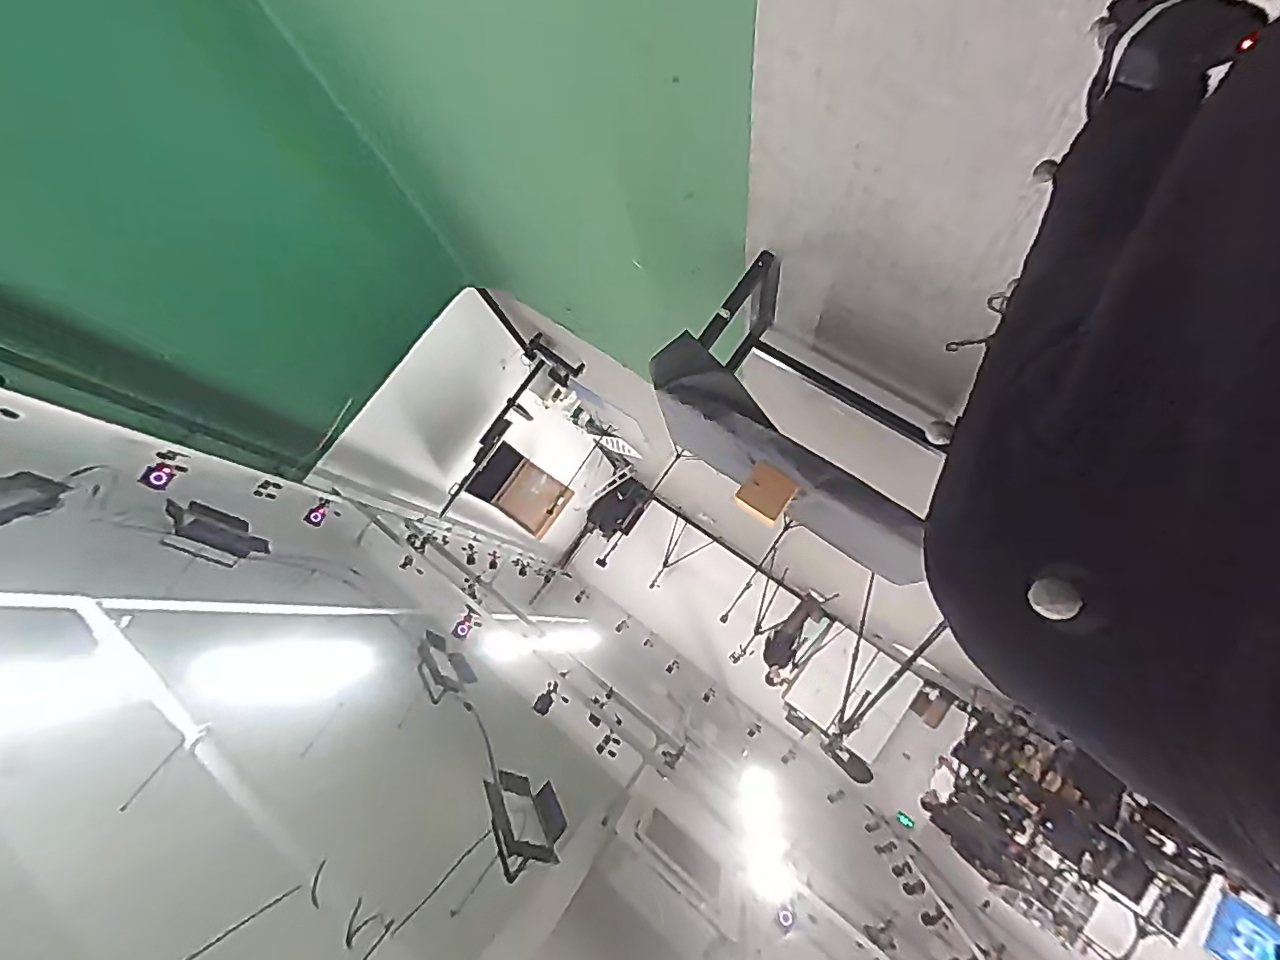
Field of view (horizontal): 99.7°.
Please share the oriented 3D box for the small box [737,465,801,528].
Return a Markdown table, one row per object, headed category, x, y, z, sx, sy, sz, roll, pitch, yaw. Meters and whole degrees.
| category | x | y | z | sx | sy | sz | roll | pitch | yaw |
| --- | --- | --- | --- | --- | --- | --- | --- | --- | --- |
| small box | 0.488 | 0.056 | 2.063 | 0.179 | 0.176 | 0.168 | 33 | 174 | 17 |
